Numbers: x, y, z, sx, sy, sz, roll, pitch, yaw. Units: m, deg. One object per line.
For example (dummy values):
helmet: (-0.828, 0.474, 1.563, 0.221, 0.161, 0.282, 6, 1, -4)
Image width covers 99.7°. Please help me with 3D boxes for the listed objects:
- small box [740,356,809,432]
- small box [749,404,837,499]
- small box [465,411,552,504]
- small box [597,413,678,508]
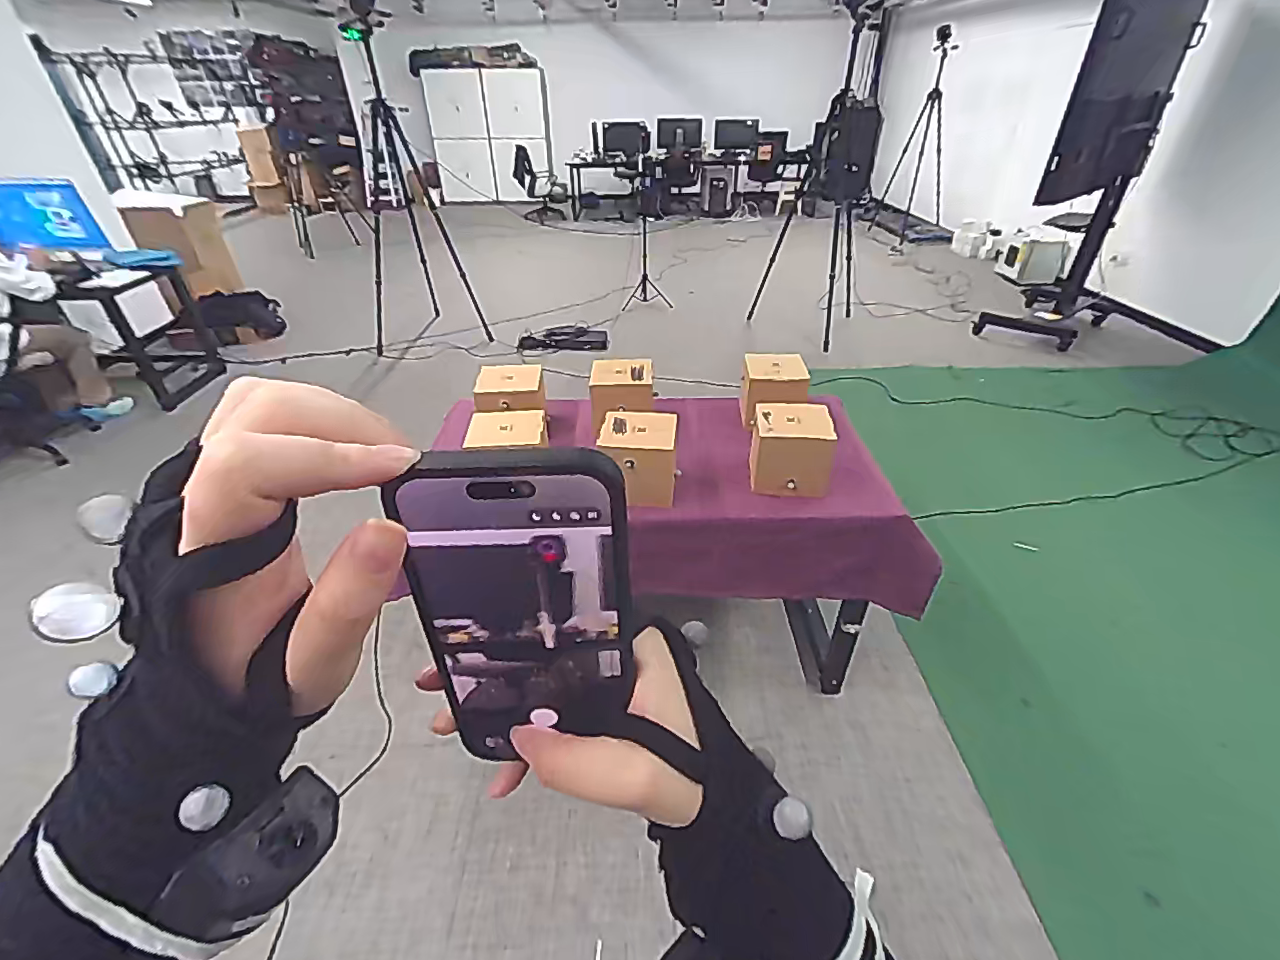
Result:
small box: (0.387, -0.252, 1.586, 0.168, 0.176, 0.179, 1, 36, 4)
small box: (0.369, -0.069, 1.332, 0.179, 0.176, 0.168, 4, 35, 6)
small box: (-0.314, -0.054, 1.324, 0.179, 0.176, 0.168, -3, 35, -5)
small box: (-0.001, -0.048, 1.308, 0.179, 0.176, 0.168, 4, 36, 5)
